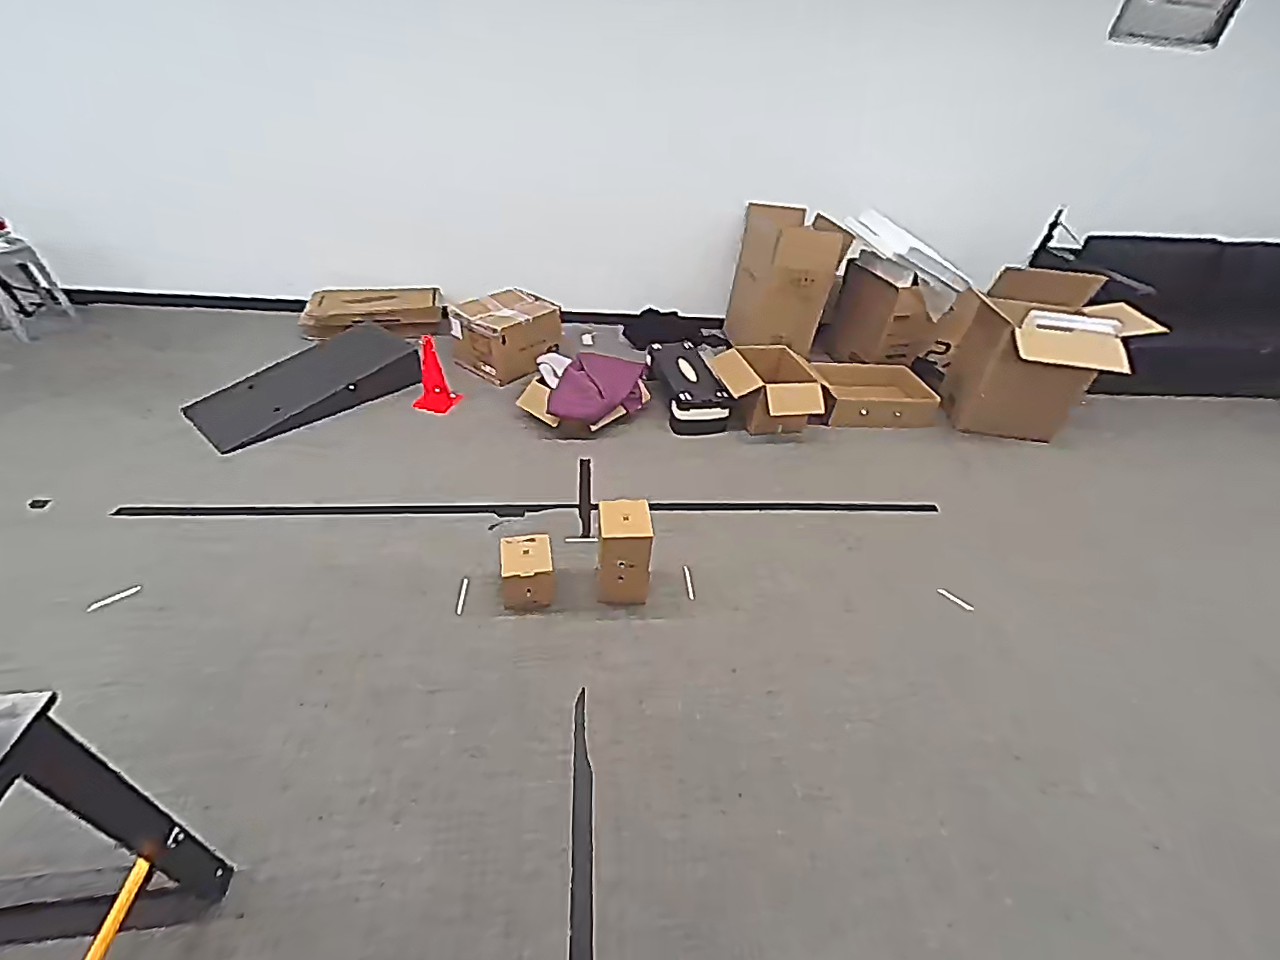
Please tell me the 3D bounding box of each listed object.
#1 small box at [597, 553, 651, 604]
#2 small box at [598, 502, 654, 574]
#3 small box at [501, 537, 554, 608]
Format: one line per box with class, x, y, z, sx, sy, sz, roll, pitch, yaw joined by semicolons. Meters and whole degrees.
small box;-0.060;0.321;1.906;0.179;0.176;0.168;3;39;-6
small box;-0.052;0.194;1.805;0.168;0.176;0.179;-2;41;-8
small box;-0.387;0.323;1.858;0.168;0.176;0.179;-4;40;-12
